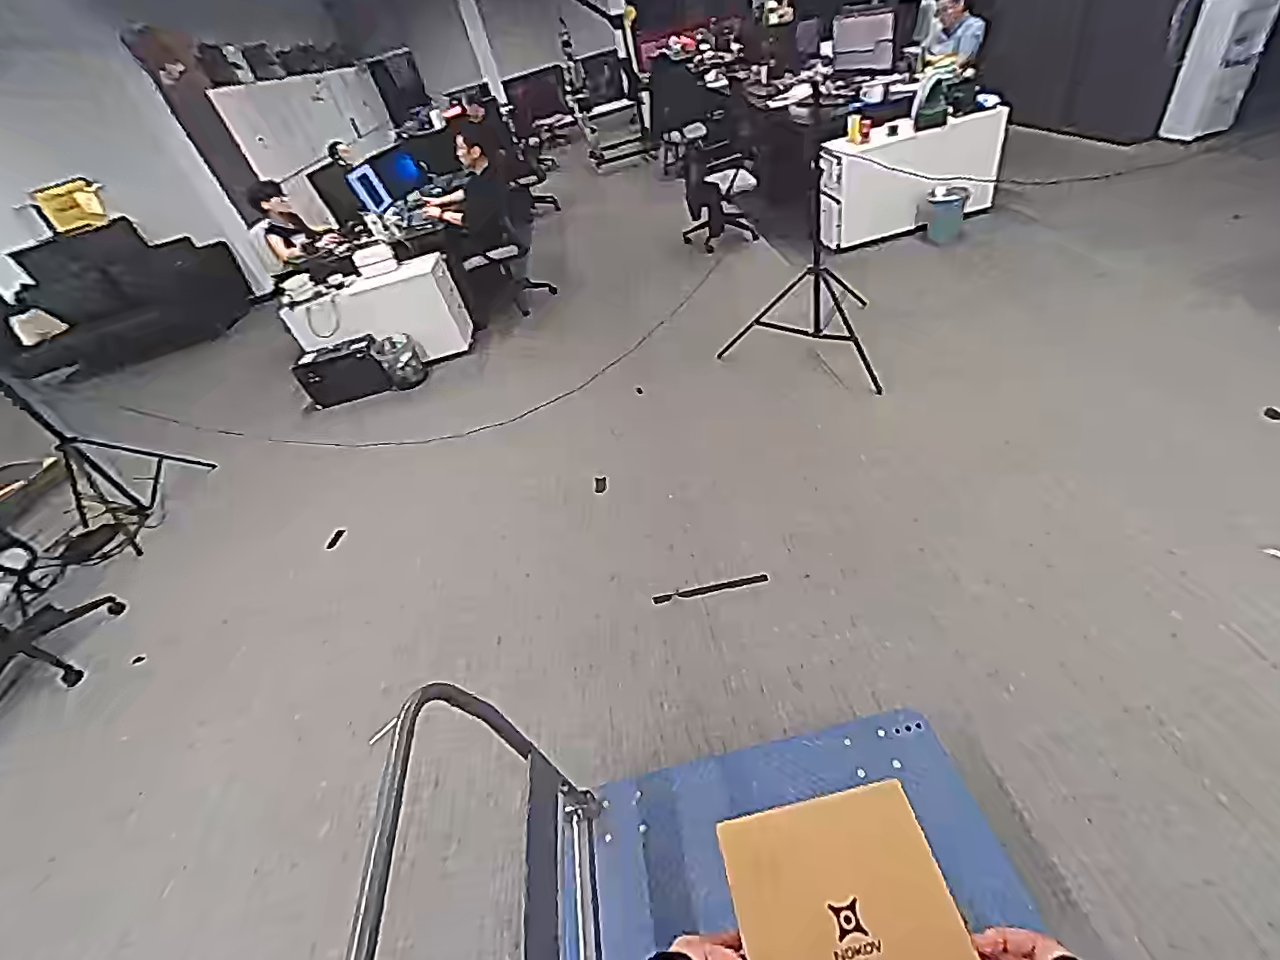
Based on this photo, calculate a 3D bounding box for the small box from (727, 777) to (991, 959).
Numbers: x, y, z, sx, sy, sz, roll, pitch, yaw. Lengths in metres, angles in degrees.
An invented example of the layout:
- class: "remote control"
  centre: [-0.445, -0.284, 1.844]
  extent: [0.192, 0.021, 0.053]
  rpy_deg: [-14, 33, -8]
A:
- class: "small box"
  centre: [0.176, 0.386, 0.465]
  extent: [0.168, 0.176, 0.179]
  rpy_deg: [-14, 49, 0]
